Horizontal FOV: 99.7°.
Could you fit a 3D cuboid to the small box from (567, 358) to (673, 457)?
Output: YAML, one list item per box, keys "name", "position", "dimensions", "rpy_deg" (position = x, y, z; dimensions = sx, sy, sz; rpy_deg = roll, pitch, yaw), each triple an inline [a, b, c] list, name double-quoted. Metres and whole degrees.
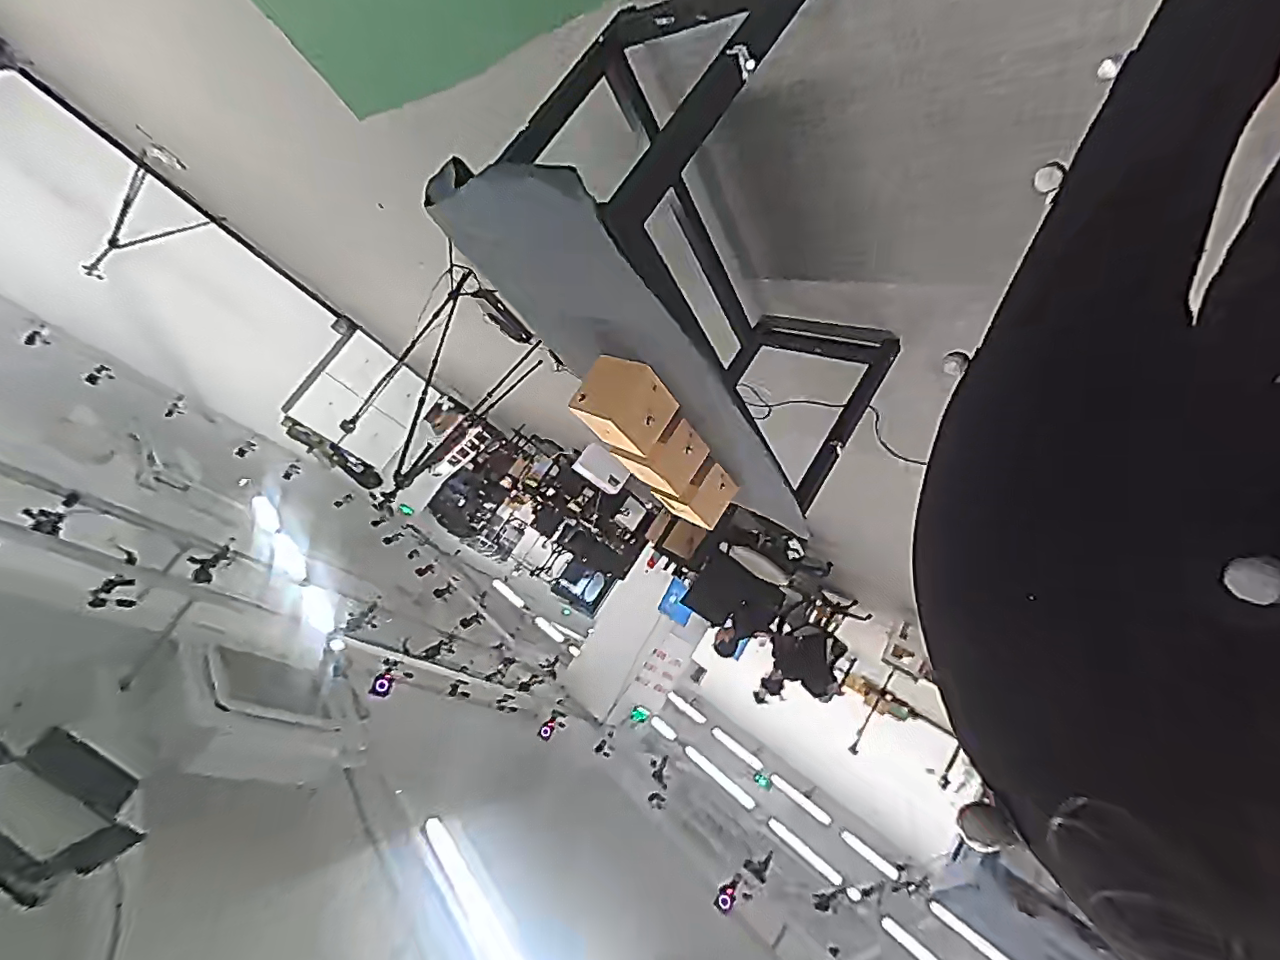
- name: "small box"
  position: [-0.041, -0.185, 1.349]
  dimensions: [0.179, 0.176, 0.168]
  rpy_deg: [24, 167, 44]

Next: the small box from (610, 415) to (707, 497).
- name: "small box"
  position: [0.055, -0.082, 1.524]
  dimensions: [0.179, 0.176, 0.168]
  rpy_deg: [23, 166, 45]
